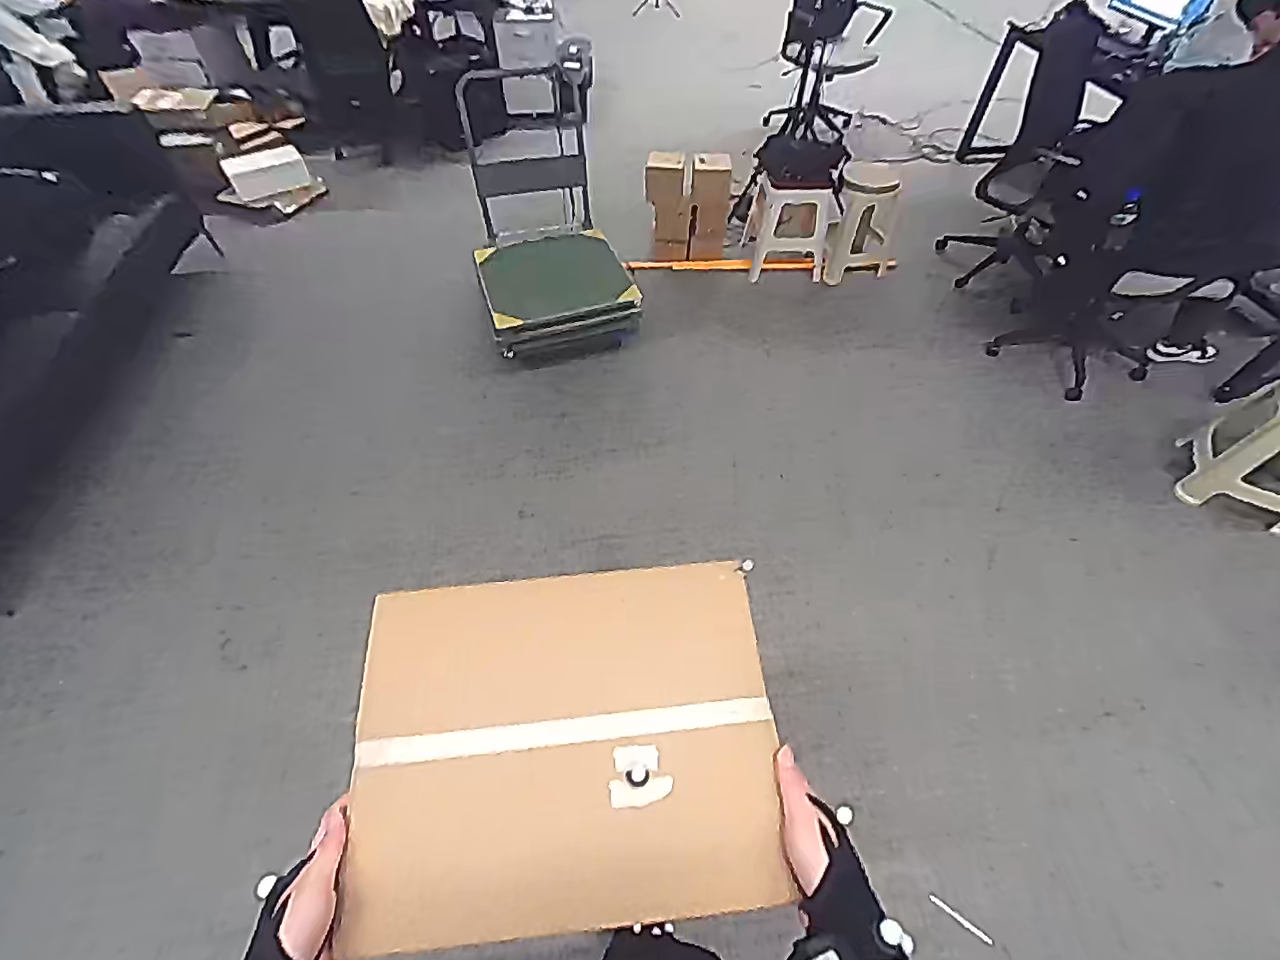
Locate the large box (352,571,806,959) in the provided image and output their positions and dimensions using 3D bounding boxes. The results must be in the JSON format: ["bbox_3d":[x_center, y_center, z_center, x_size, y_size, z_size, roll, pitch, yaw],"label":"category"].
[{"bbox_3d":[-0.068,0.331,0.665,0.408,0.320,0.320,-6,62,-4],"label":"large box"}]
